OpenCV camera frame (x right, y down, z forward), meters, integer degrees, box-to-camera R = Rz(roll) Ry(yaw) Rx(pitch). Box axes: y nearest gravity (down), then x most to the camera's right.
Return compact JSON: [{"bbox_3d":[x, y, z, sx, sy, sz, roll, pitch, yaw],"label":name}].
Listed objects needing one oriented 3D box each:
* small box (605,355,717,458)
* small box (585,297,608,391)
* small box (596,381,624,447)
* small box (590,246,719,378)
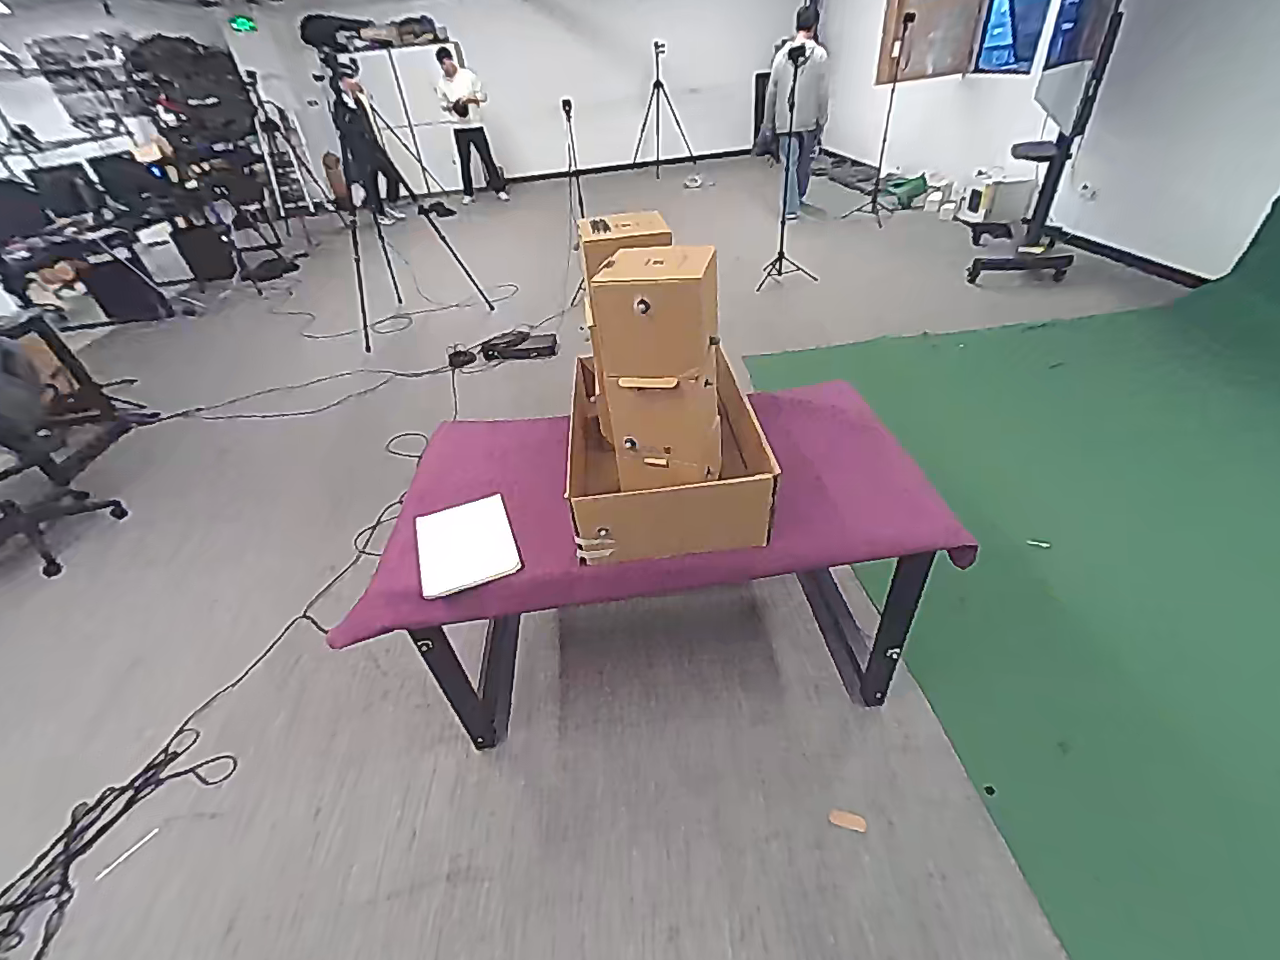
[{"bbox_3d":[0.050,-0.157,1.017,0.168,0.176,0.179,5,39,17],"label":"small box"},{"bbox_3d":[-0.025,-0.317,1.239,0.179,0.176,0.168,-8,40,-2],"label":"small box"},{"bbox_3d":[-0.016,-0.194,1.344,0.168,0.176,0.179,-6,40,0],"label":"small box"},{"bbox_3d":[0.034,-0.283,0.915,0.179,0.176,0.168,4,39,16],"label":"small box"}]
